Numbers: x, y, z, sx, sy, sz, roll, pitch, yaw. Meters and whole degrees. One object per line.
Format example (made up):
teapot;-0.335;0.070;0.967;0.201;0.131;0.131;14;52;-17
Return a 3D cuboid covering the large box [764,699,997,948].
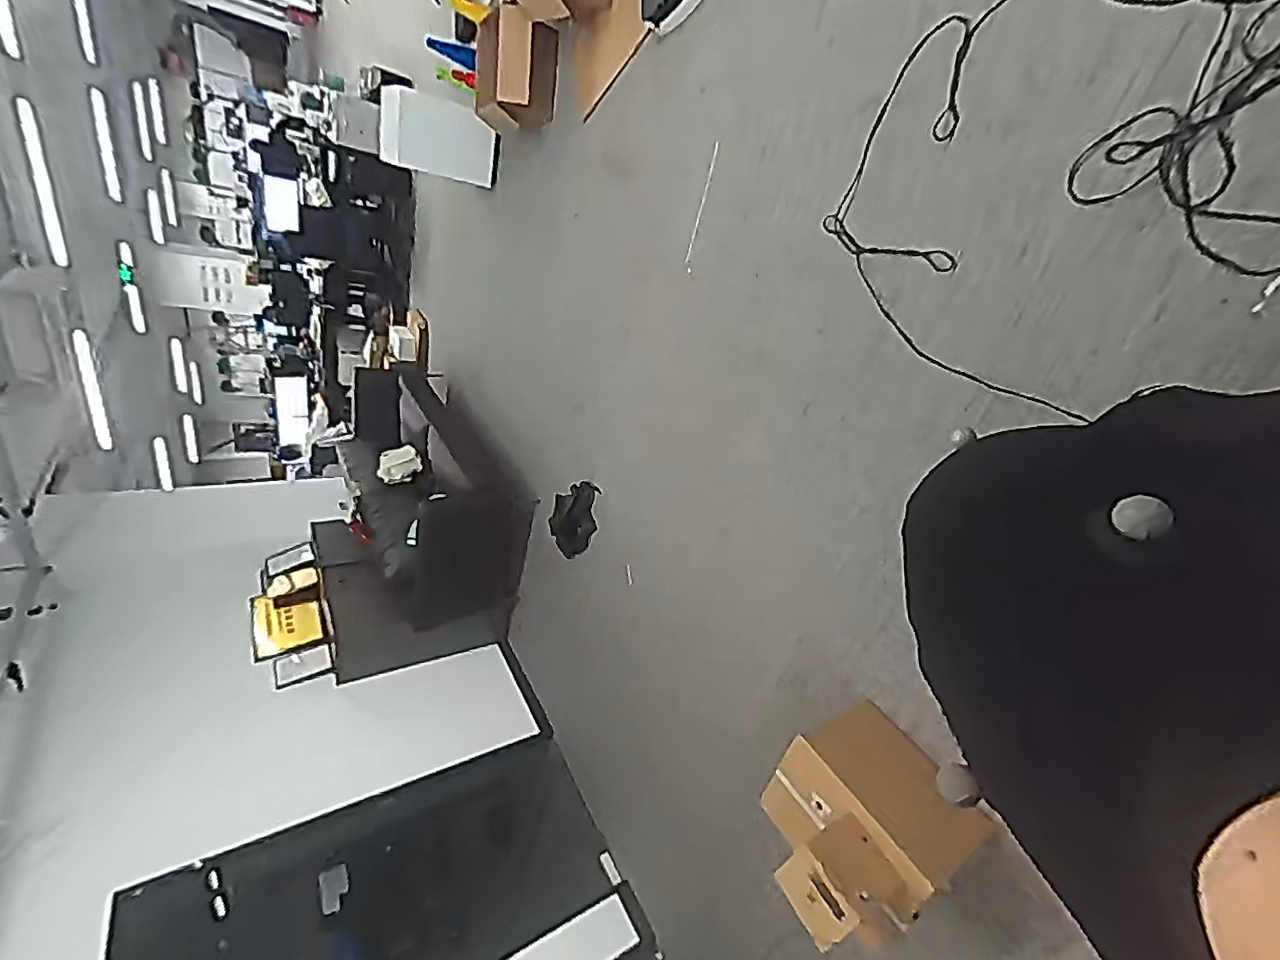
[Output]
large box;0.614;0.872;1.429;0.408;0.320;0.320;45;129;44
